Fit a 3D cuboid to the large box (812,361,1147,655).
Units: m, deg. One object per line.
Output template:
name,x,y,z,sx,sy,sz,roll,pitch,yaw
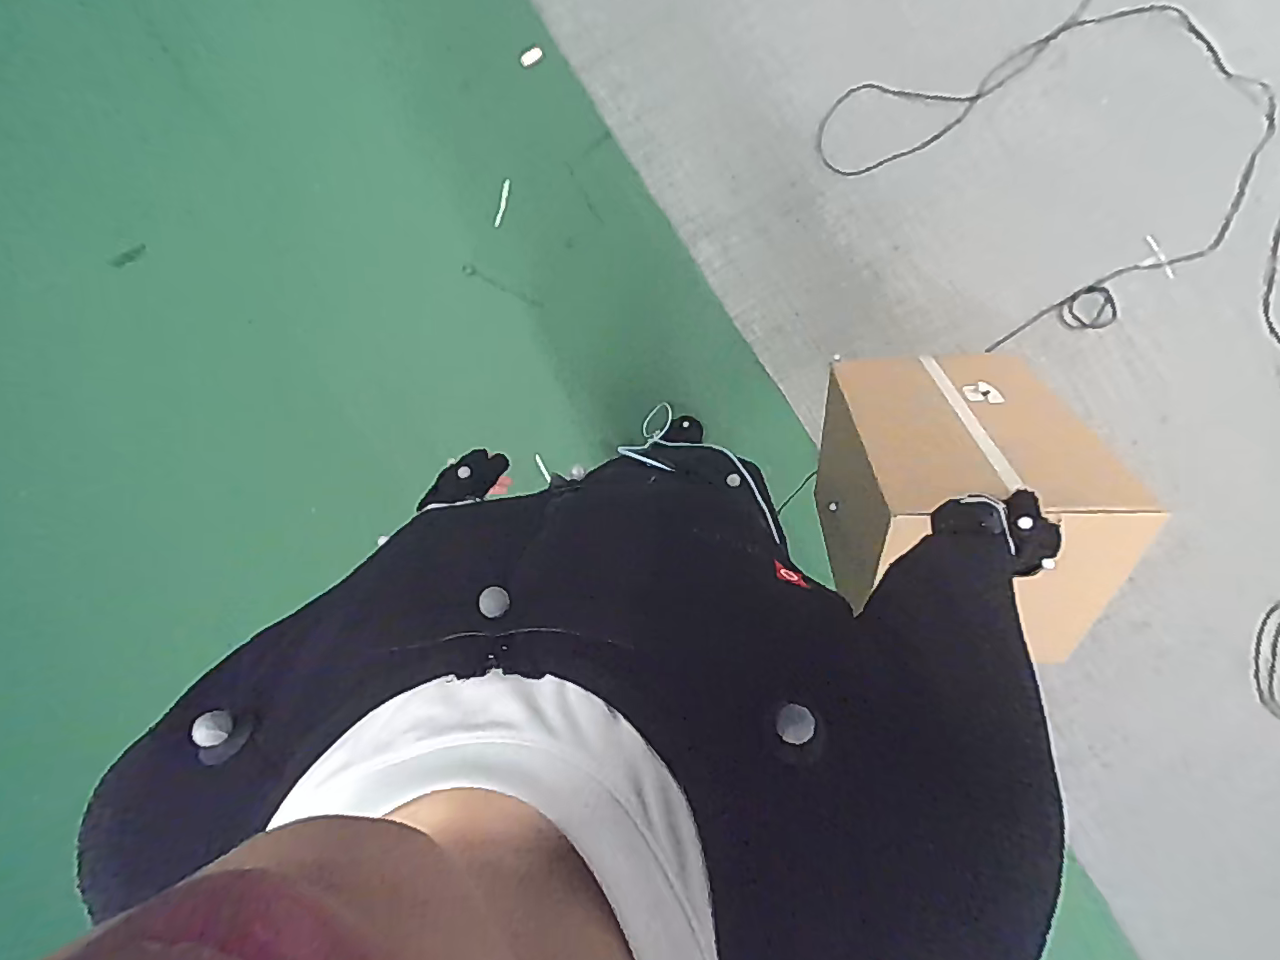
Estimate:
large box,0.489,0.037,0.908,0.320,0.408,0.320,0,129,6
